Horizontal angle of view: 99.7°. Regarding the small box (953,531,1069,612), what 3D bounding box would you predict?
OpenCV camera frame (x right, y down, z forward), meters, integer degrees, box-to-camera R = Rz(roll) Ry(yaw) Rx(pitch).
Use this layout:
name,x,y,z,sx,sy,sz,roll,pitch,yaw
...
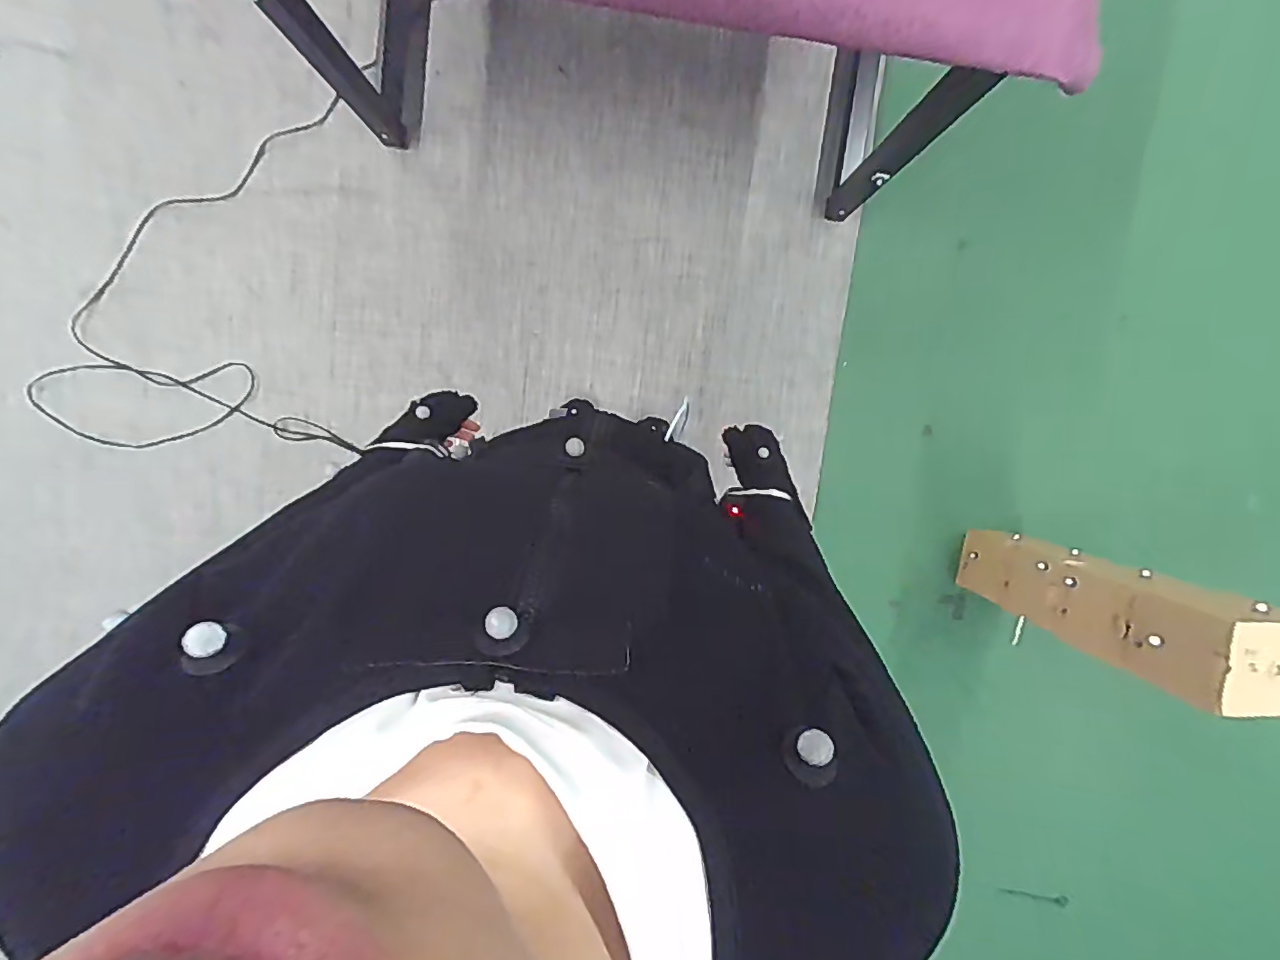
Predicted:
name,x,y,z,sx,sy,sz,roll,pitch,yaw
small box,0.994,0.241,1.461,0.179,0.176,0.168,8,97,-2

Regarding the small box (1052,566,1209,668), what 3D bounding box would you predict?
name,x,y,z,sx,sy,sz,roll,pitch,yaw
small box,1.017,0.283,1.135,0.179,0.176,0.168,2,98,-3

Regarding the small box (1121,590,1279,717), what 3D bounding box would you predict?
name,x,y,z,sx,sy,sz,roll,pitch,yaw
small box,1.033,0.303,0.972,0.179,0.176,0.168,1,97,-2
